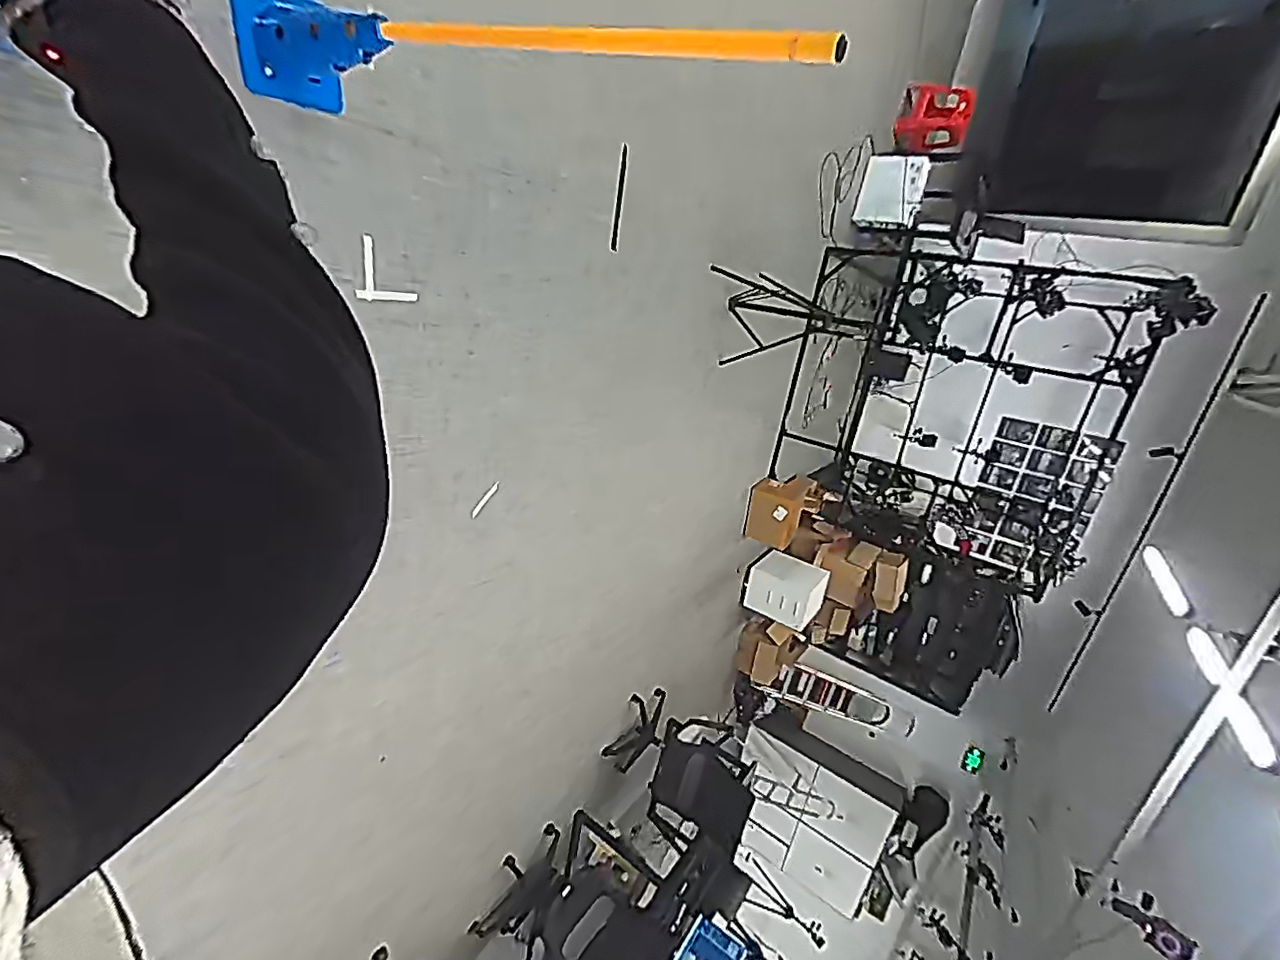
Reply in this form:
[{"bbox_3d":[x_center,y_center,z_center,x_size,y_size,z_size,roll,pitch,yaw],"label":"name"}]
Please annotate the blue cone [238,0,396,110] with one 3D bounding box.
[{"bbox_3d":[-0.597,-0.857,1.056,0.193,0.380,0.192,-22,126,-51],"label":"blue cone"}]
